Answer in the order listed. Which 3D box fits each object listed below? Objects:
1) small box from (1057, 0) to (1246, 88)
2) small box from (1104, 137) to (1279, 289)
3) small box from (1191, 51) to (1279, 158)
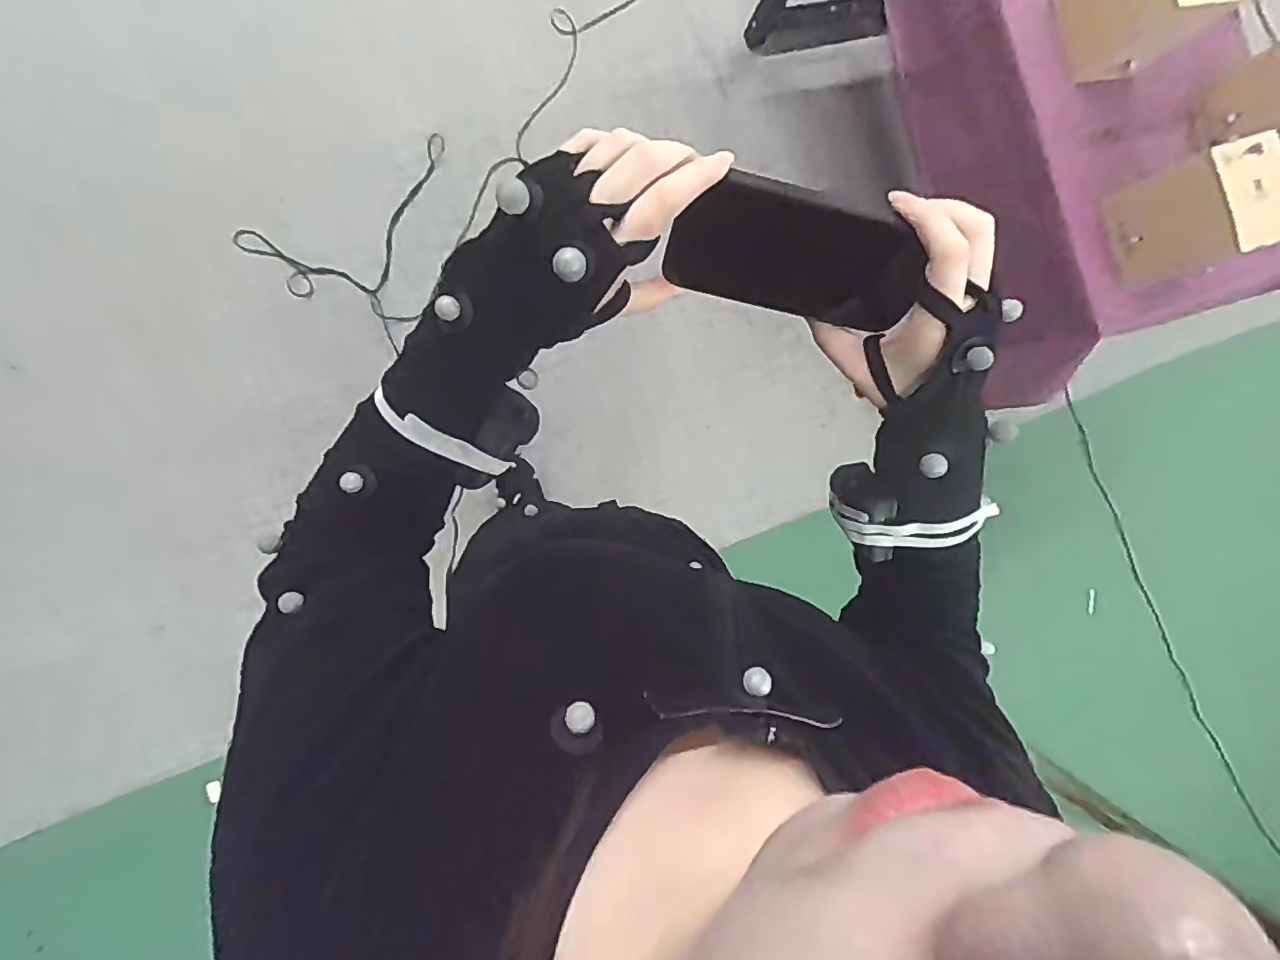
[{"bbox_3d":[0.874,-0.831,0.940,0.168,0.176,0.179,-16,93,-14],"label":"small box"},{"bbox_3d":[0.980,-0.455,0.952,0.168,0.176,0.179,-20,93,-14],"label":"small box"},{"bbox_3d":[1.209,-0.706,1.016,0.179,0.176,0.168,-22,93,-13],"label":"small box"}]
